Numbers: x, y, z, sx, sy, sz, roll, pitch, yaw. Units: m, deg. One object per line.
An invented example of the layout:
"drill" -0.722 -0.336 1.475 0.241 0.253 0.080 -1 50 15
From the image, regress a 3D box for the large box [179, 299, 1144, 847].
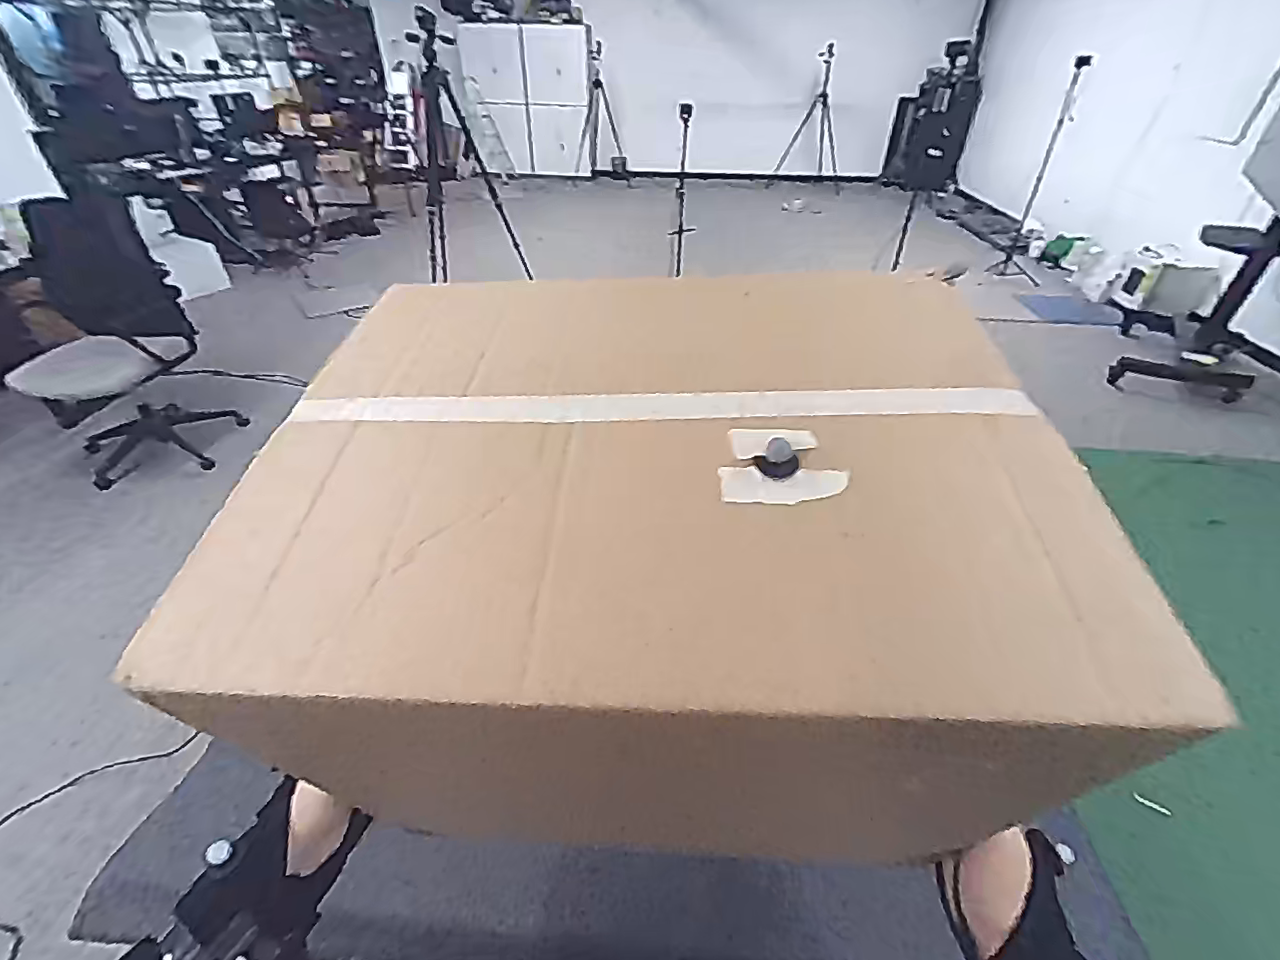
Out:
"large box" 0.010 0.077 0.427 0.408 0.320 0.320 0 48 4
